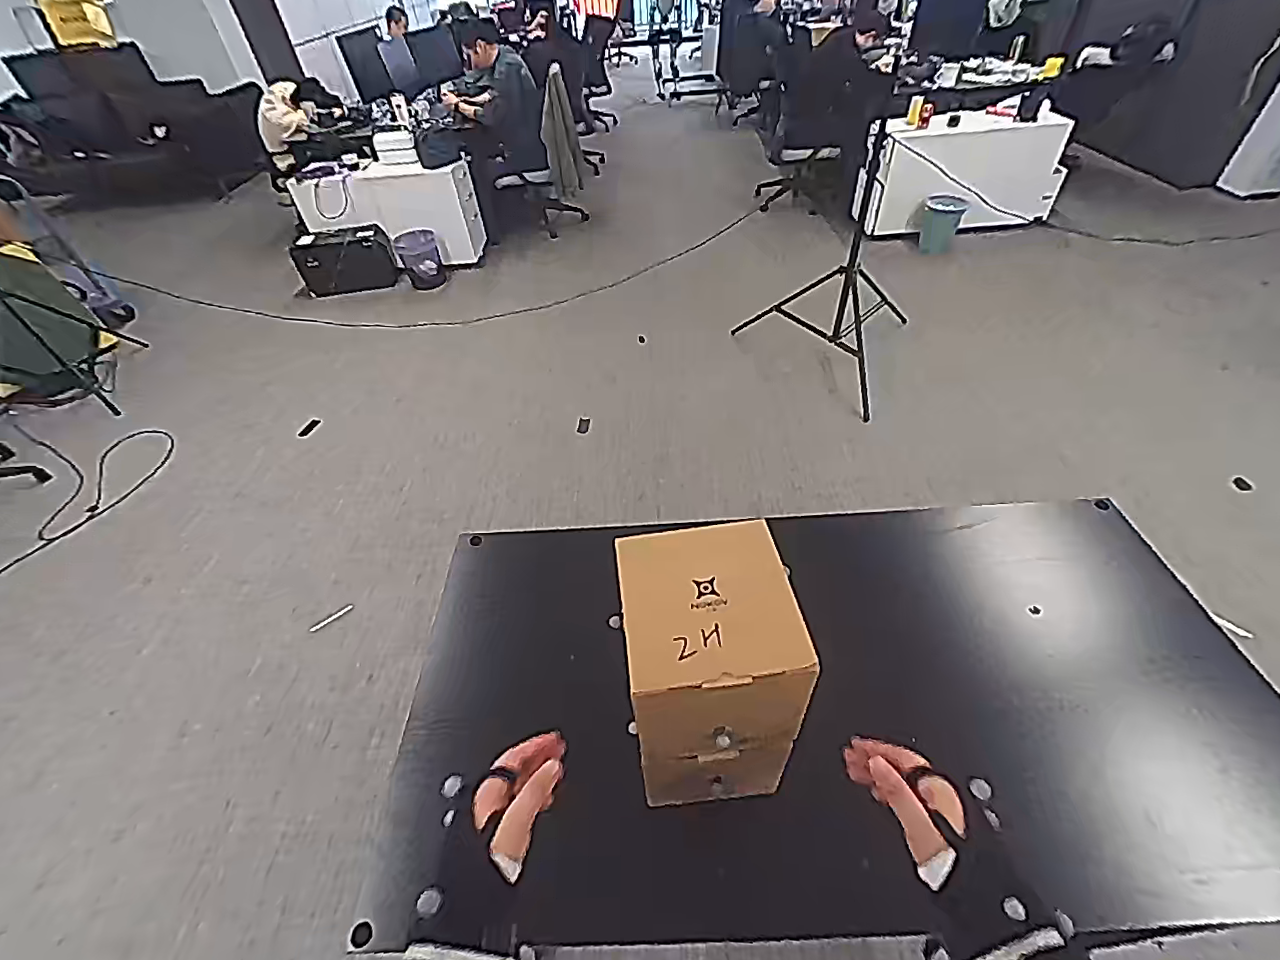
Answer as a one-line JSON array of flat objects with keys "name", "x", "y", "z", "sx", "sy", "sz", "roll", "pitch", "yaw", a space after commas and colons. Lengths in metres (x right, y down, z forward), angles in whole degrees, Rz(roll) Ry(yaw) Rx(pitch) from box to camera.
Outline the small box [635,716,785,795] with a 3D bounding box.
[{"name": "small box", "x": 0.079, "y": 0.290, "z": 0.700, "sx": 0.168, "sy": 0.176, "sz": 0.179, "roll": -7, "pitch": 45, "yaw": -1}]

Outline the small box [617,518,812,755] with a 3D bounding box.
[{"name": "small box", "x": 0.068, "y": 0.168, "z": 0.586, "sx": 0.168, "sy": 0.176, "sz": 0.179, "roll": -8, "pitch": 44, "yaw": -1}]
